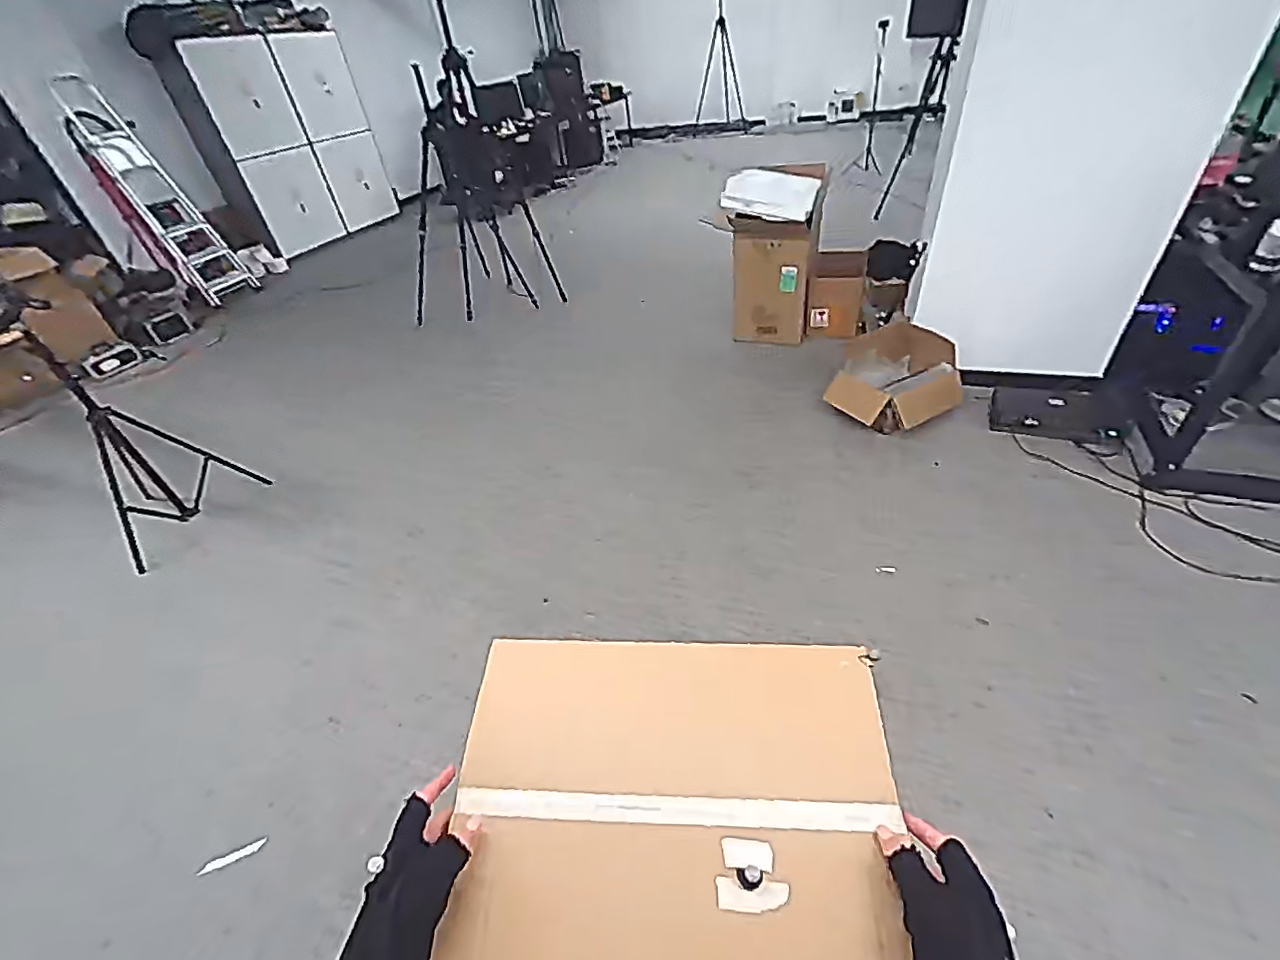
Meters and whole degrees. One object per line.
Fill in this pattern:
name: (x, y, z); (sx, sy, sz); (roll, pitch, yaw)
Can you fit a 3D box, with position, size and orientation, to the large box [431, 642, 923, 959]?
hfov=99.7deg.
large box: (0.037, 0.393, 0.618); (0.408, 0.320, 0.320); (-1, 52, 4)
